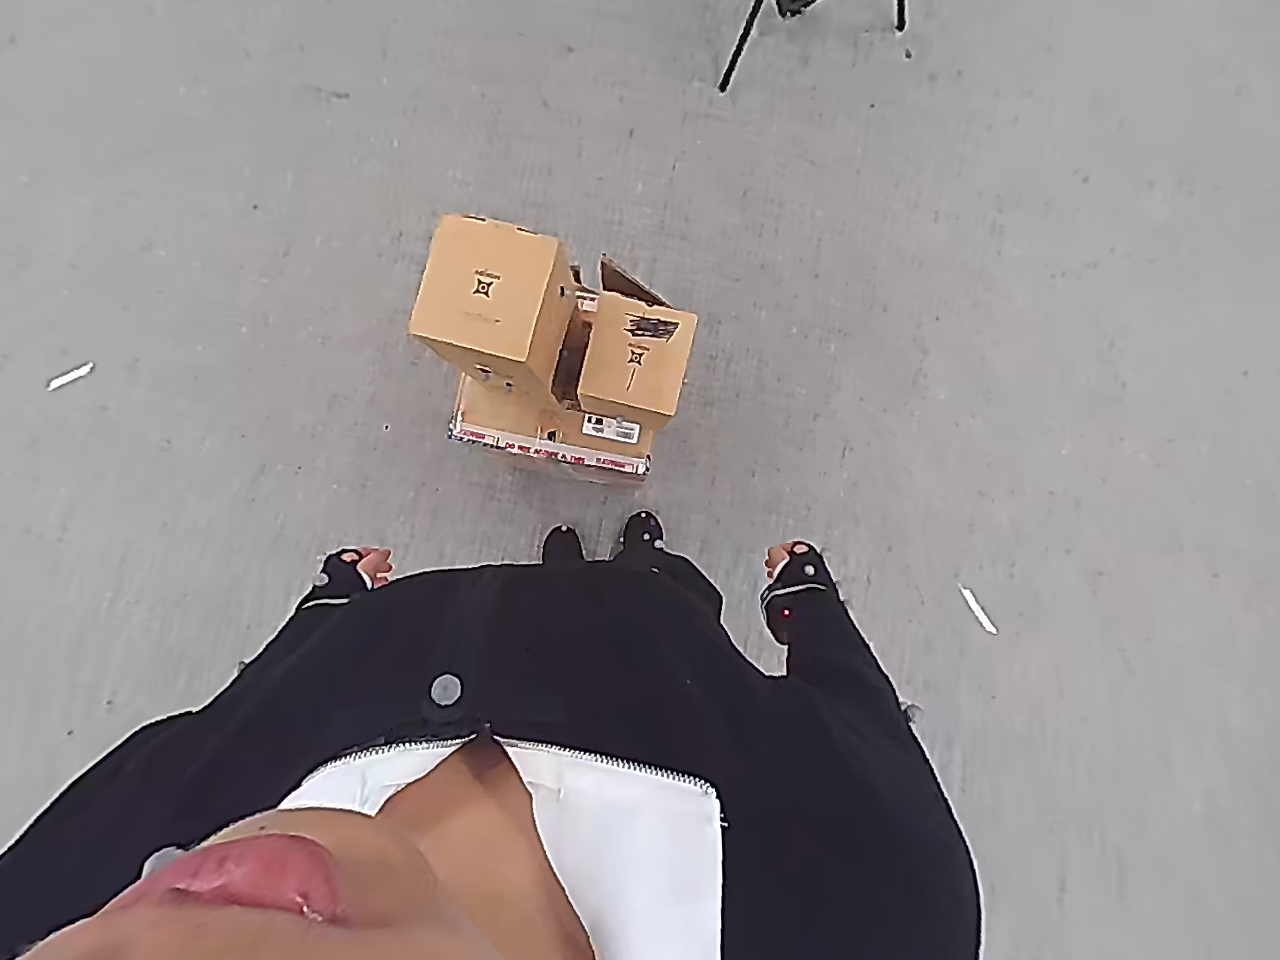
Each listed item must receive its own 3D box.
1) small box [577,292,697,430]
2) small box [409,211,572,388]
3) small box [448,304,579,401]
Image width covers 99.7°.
[{"bbox_3d":[-0.009,-0.200,0.957,0.168,0.176,0.179,14,87,-2],"label":"small box"},{"bbox_3d":[-0.204,-0.251,0.791,0.168,0.176,0.179,14,88,2],"label":"small box"},{"bbox_3d":[-0.212,-0.251,0.955,0.168,0.176,0.179,14,88,1],"label":"small box"}]
